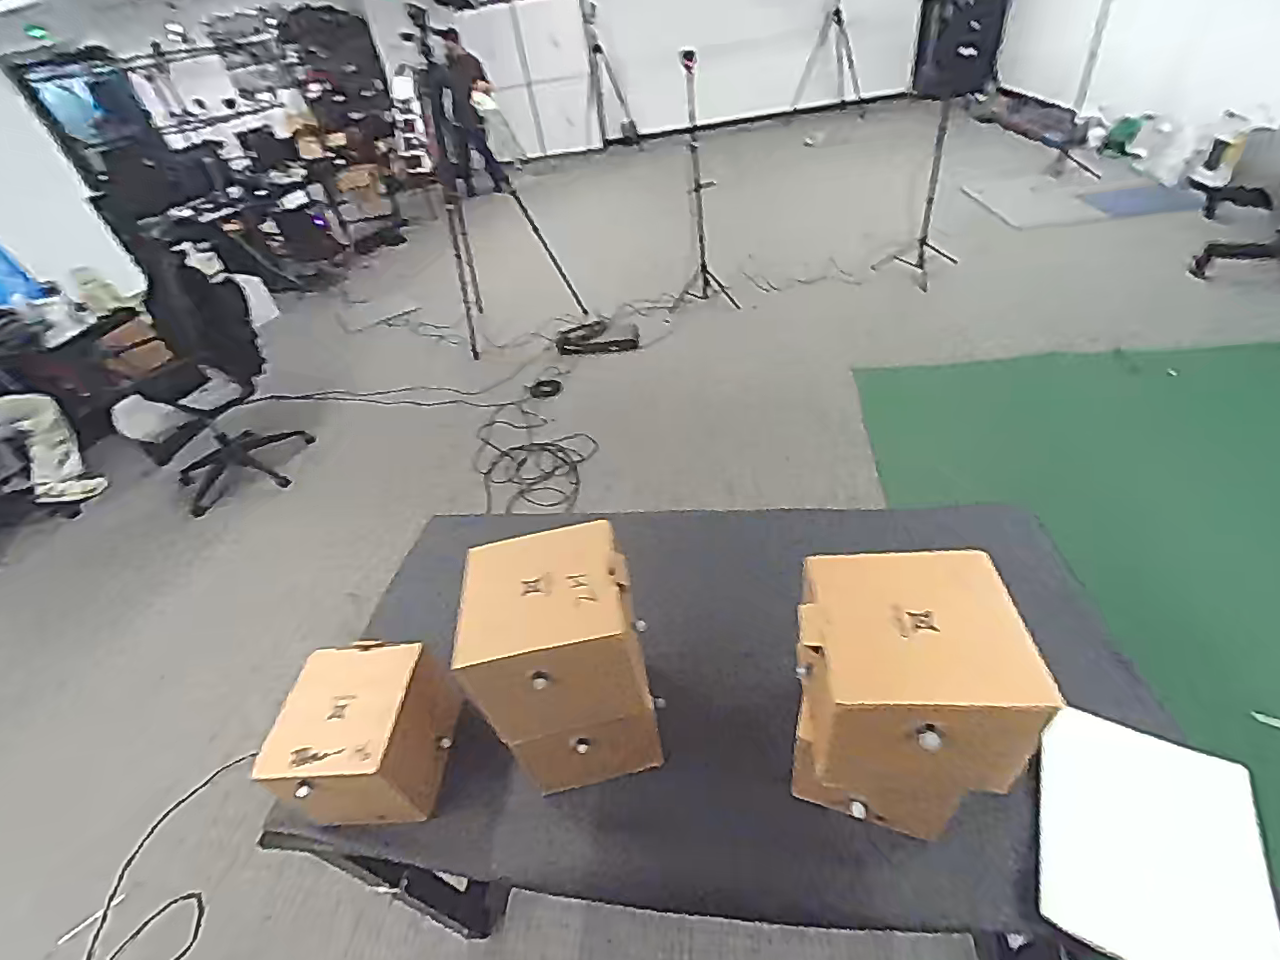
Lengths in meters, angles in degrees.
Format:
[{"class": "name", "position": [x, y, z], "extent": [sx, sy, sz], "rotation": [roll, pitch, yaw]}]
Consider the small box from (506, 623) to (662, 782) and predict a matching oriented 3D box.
[{"class": "small box", "position": [-0.078, 0.297, 0.762], "extent": [0.179, 0.176, 0.168], "rotation": [-14, 41, -2]}]

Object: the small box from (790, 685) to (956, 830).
[{"class": "small box", "position": [0.285, 0.293, 0.676], "extent": [0.168, 0.176, 0.179], "rotation": [7, 44, 22]}]

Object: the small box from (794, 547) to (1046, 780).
[{"class": "small box", "position": [0.259, 0.187, 0.553], "extent": [0.179, 0.176, 0.168], "rotation": [-4, 40, 10]}]

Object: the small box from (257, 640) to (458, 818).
[{"class": "small box", "position": [-0.377, 0.352, 0.766], "extent": [0.168, 0.176, 0.179], "rotation": [-6, 41, 6]}]

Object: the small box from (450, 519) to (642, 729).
[{"class": "small box", "position": [-0.104, 0.176, 0.653], "extent": [0.179, 0.176, 0.168], "rotation": [-12, 41, 0]}]
